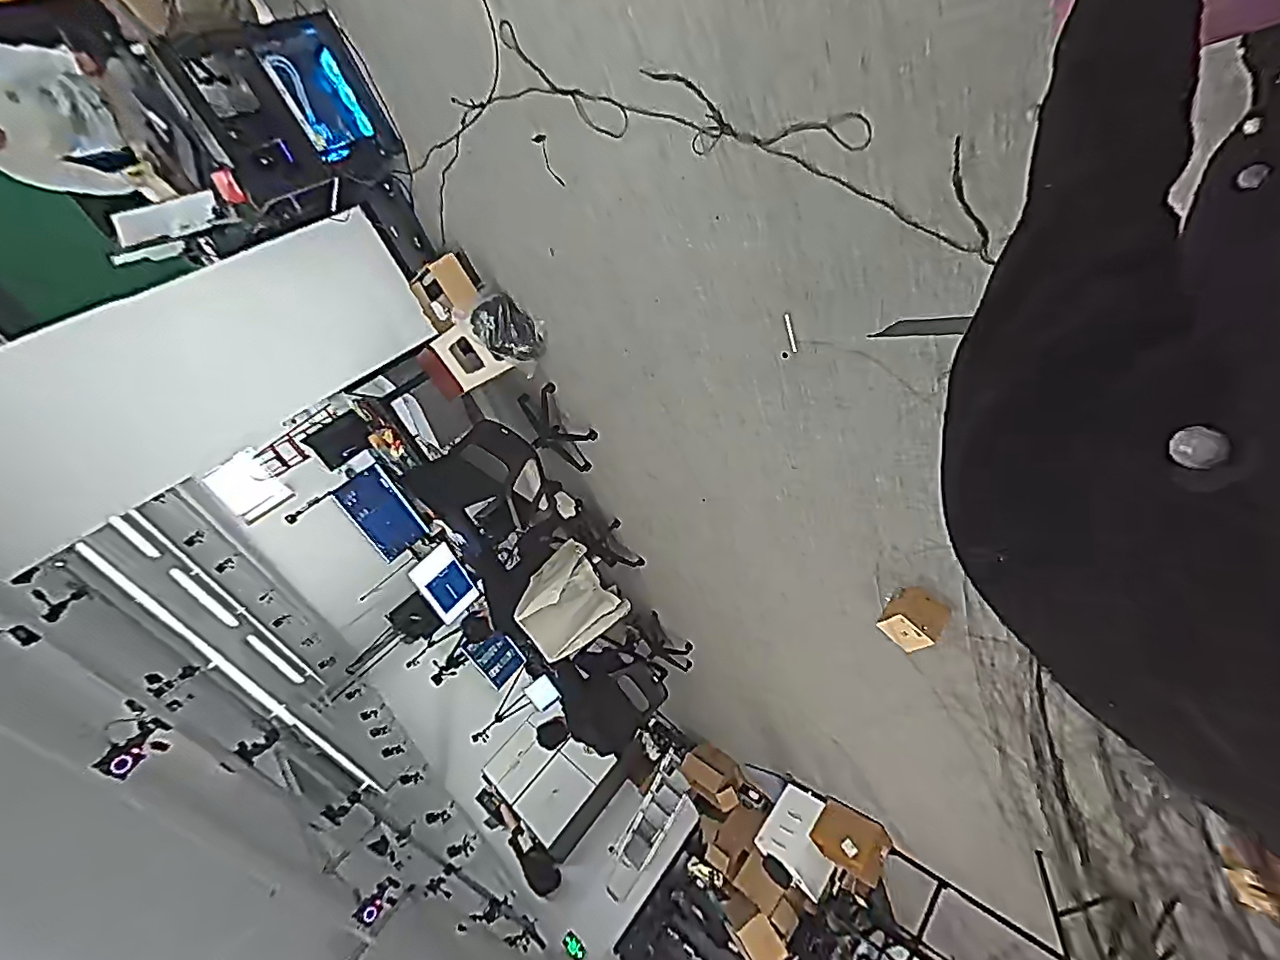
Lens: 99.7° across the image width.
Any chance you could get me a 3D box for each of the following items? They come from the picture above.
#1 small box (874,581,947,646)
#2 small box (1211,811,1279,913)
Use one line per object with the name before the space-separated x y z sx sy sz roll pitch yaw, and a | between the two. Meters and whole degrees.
small box | 1.099 0.541 2.194 0.168 0.176 0.179 42 152 10
small box | 1.830 1.130 1.603 0.168 0.176 0.179 10 136 49
